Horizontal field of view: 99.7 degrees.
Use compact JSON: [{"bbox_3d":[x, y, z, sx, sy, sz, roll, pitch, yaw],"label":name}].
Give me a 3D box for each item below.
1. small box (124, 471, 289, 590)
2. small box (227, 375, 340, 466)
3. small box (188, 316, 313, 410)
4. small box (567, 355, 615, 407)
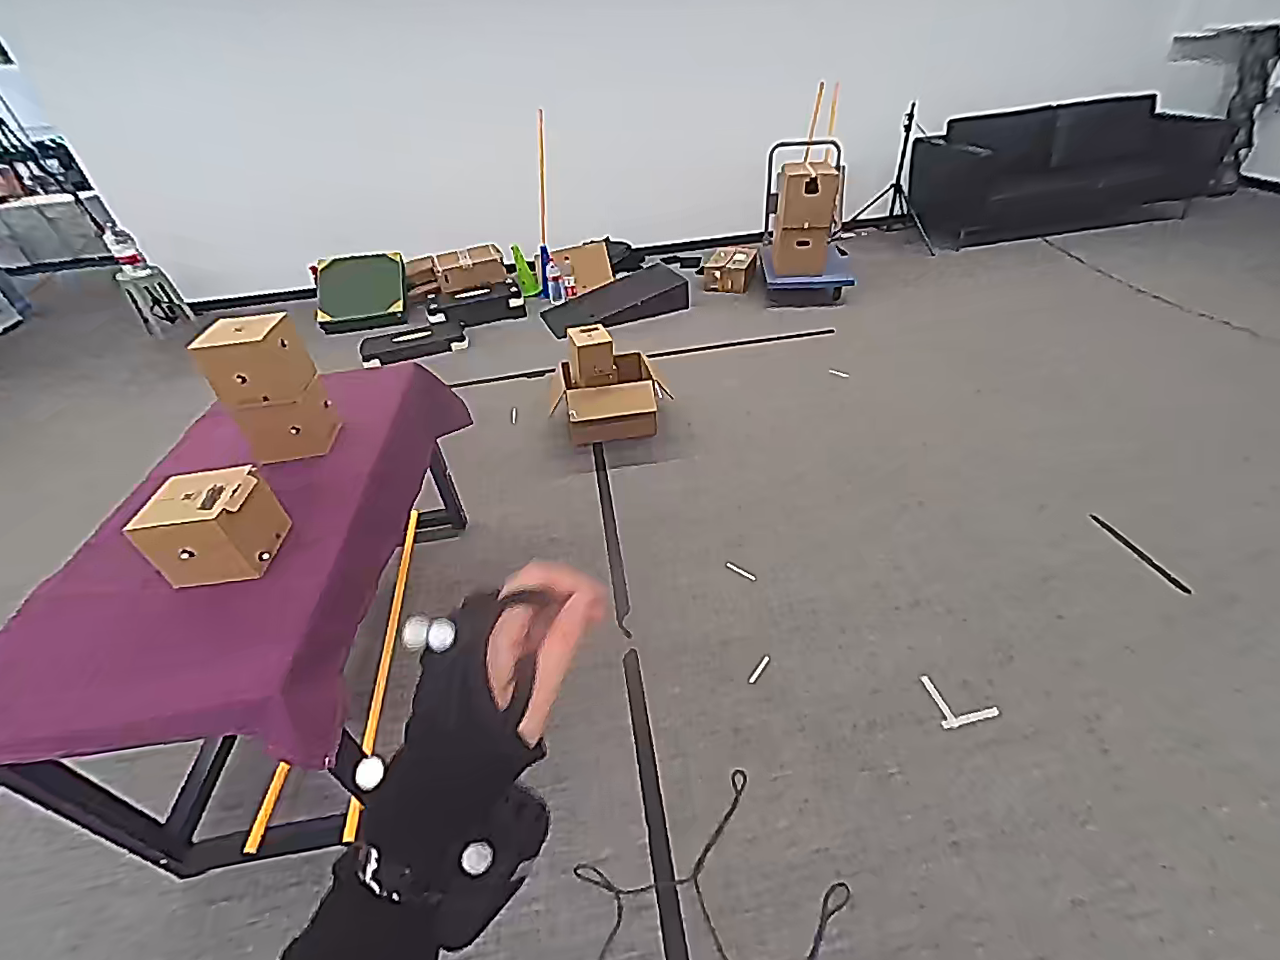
[{"bbox_3d":[-0.872,0.105,1.113,0.179,0.176,0.168,-8,39,-2],"label":"small box"},{"bbox_3d":[-0.934,-0.157,1.440,0.179,0.176,0.168,-10,39,-4],"label":"small box"},{"bbox_3d":[-0.947,-0.284,1.337,0.168,0.176,0.179,-8,39,-4],"label":"small box"},{"bbox_3d":[-0.234,-0.474,2.605,0.179,0.176,0.168,-21,46,-23],"label":"small box"}]
